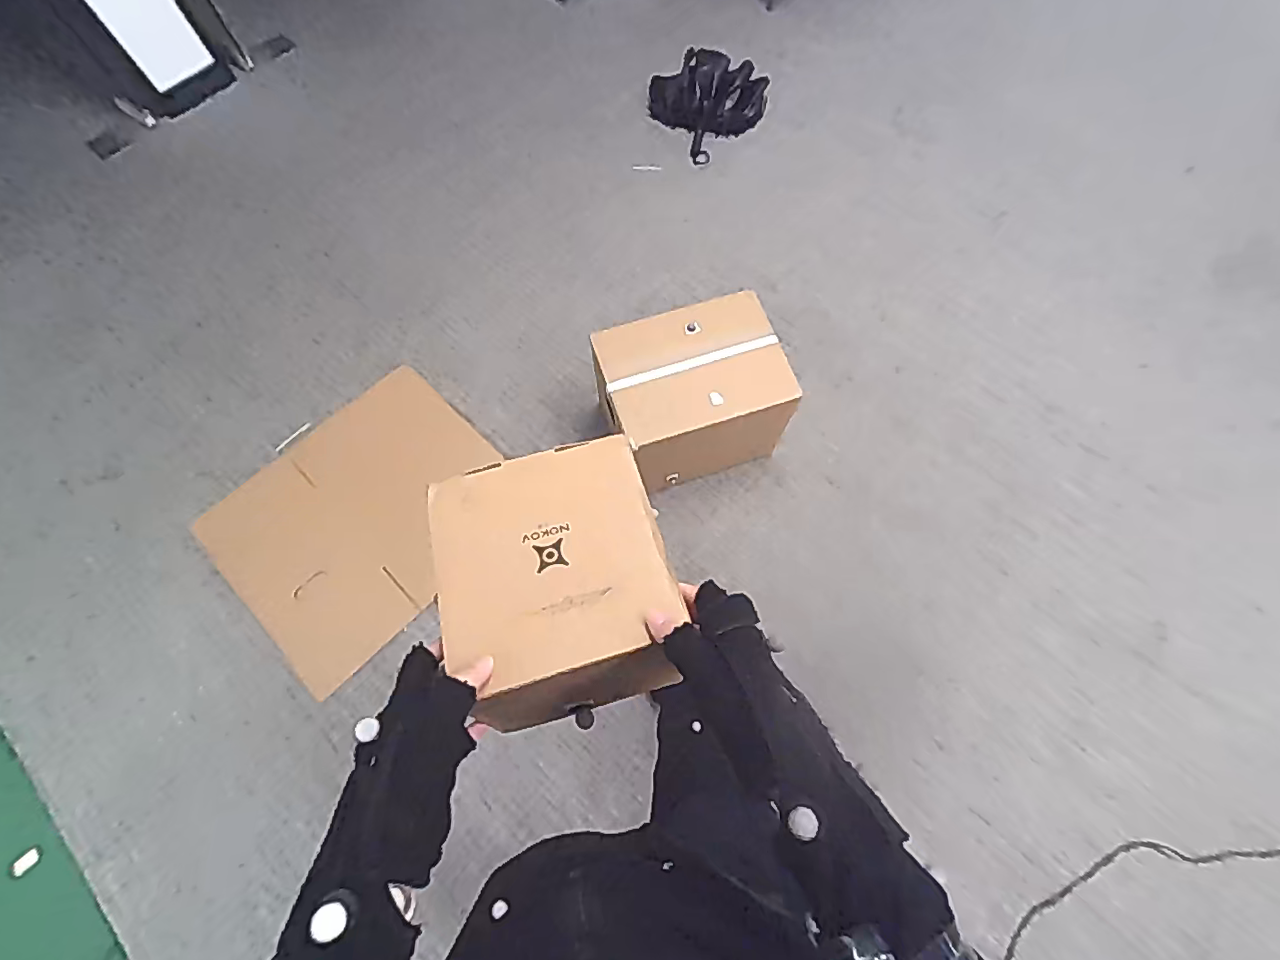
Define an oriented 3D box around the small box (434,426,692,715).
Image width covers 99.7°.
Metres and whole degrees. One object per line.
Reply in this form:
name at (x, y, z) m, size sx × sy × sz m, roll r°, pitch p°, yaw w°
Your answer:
small box at (-0.064, 0.085, 0.474) m, size 0.168 × 0.176 × 0.179 m, roll -16°, pitch 61°, yaw -7°
